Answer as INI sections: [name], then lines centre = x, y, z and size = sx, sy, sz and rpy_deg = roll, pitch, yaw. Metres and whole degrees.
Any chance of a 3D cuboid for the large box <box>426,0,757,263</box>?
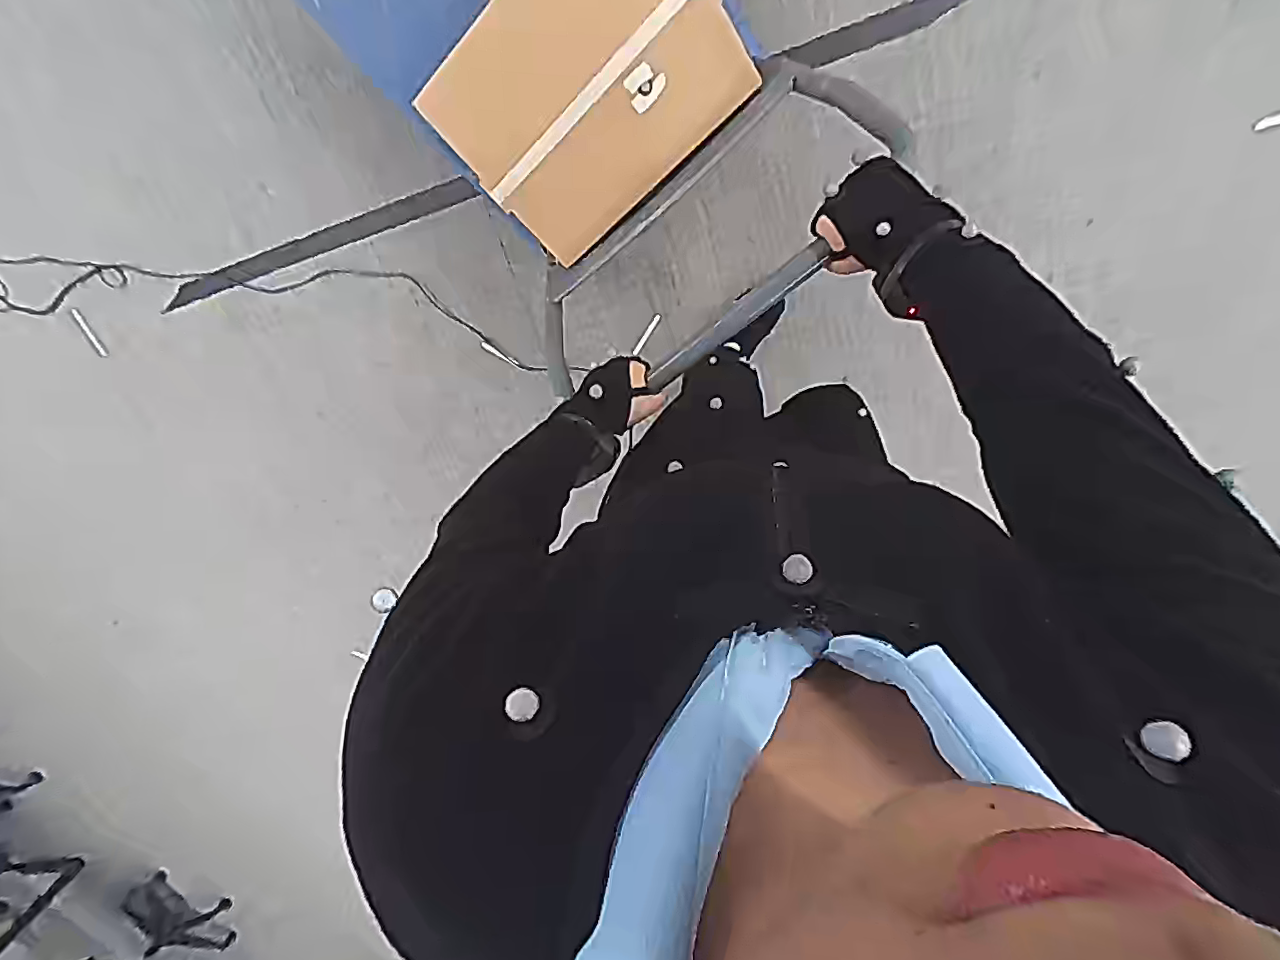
[large box]
centre = -0.083, -0.659, 0.909
size = 0.408, 0.320, 0.320
rpy_deg = -37, 124, 21
